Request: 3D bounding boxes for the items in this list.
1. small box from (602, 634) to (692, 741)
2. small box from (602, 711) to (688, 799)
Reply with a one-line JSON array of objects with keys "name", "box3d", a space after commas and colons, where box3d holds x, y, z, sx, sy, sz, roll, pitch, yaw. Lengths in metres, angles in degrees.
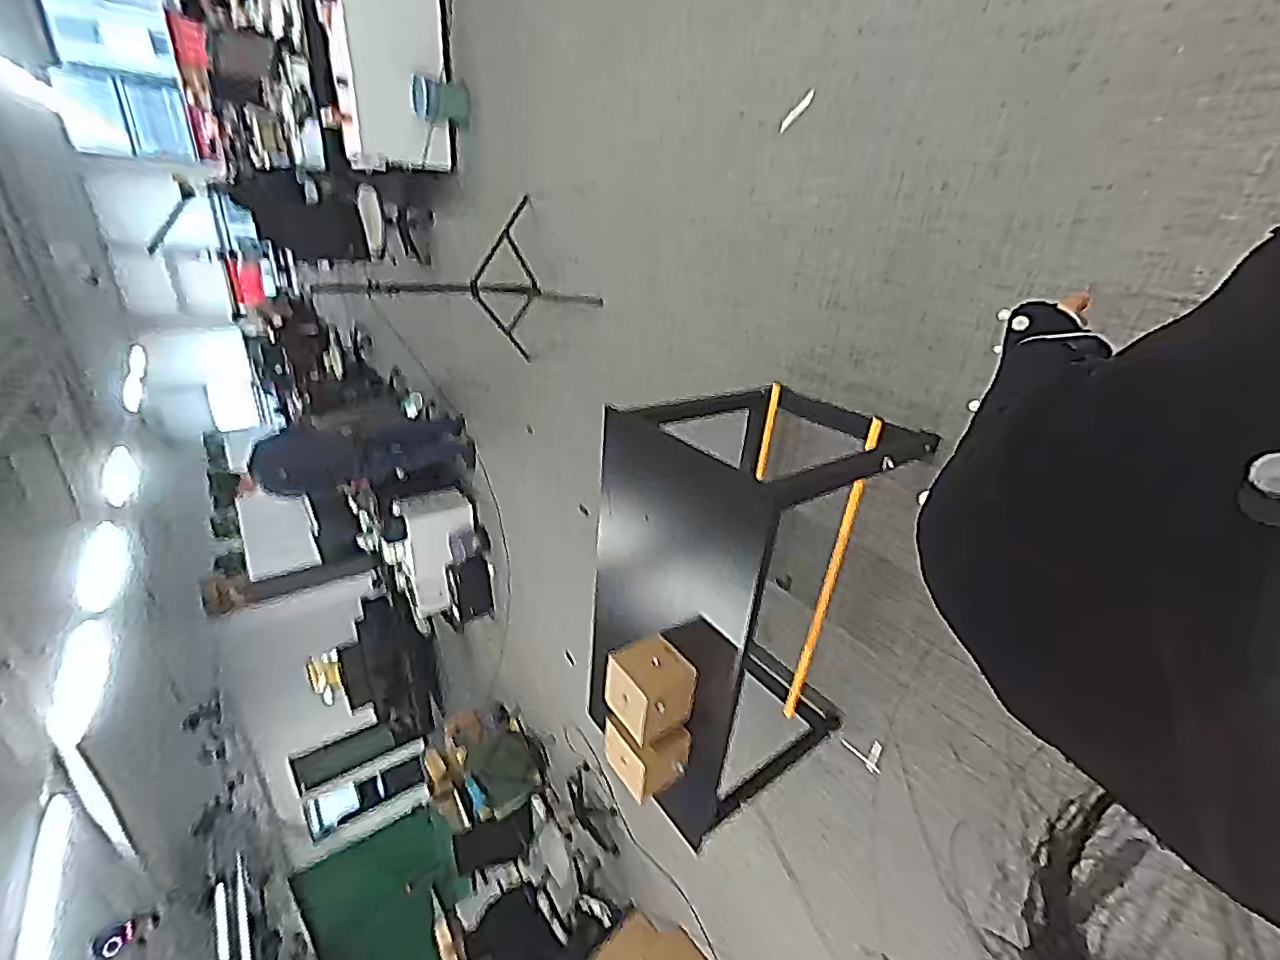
[{"name": "small box", "box3d": [0.019, 0.544, 1.442, 0.168, 0.176, 0.179, 36, 130, 43]}, {"name": "small box", "box3d": [0.010, 0.744, 1.532, 0.179, 0.176, 0.168, 33, 129, 43]}]
